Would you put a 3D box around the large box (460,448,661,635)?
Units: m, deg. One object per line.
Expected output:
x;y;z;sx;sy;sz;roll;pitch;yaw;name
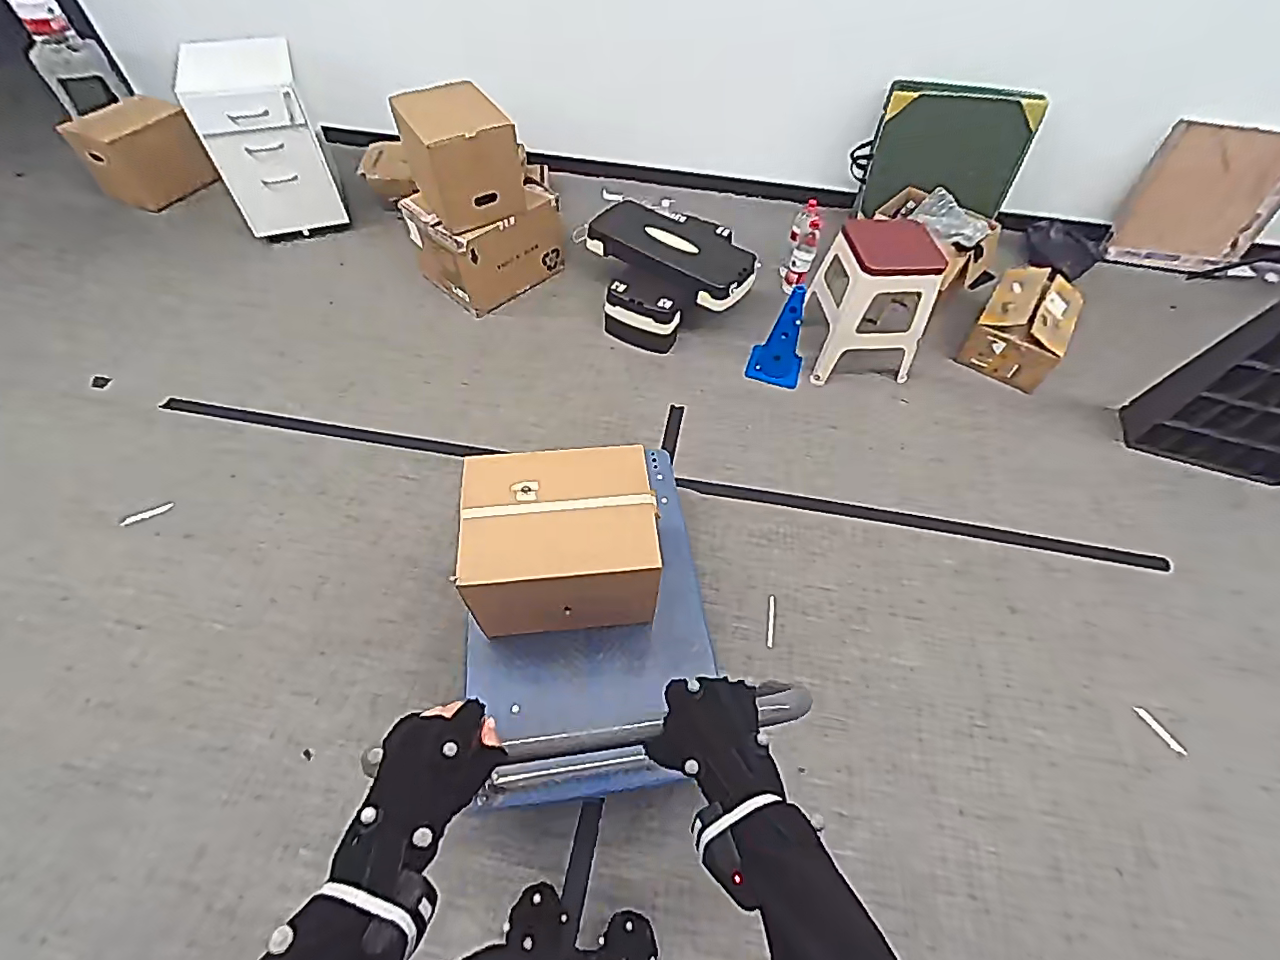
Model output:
-0.175;0.152;1.273;0.408;0.320;0.320;-5;56;-5;large box
